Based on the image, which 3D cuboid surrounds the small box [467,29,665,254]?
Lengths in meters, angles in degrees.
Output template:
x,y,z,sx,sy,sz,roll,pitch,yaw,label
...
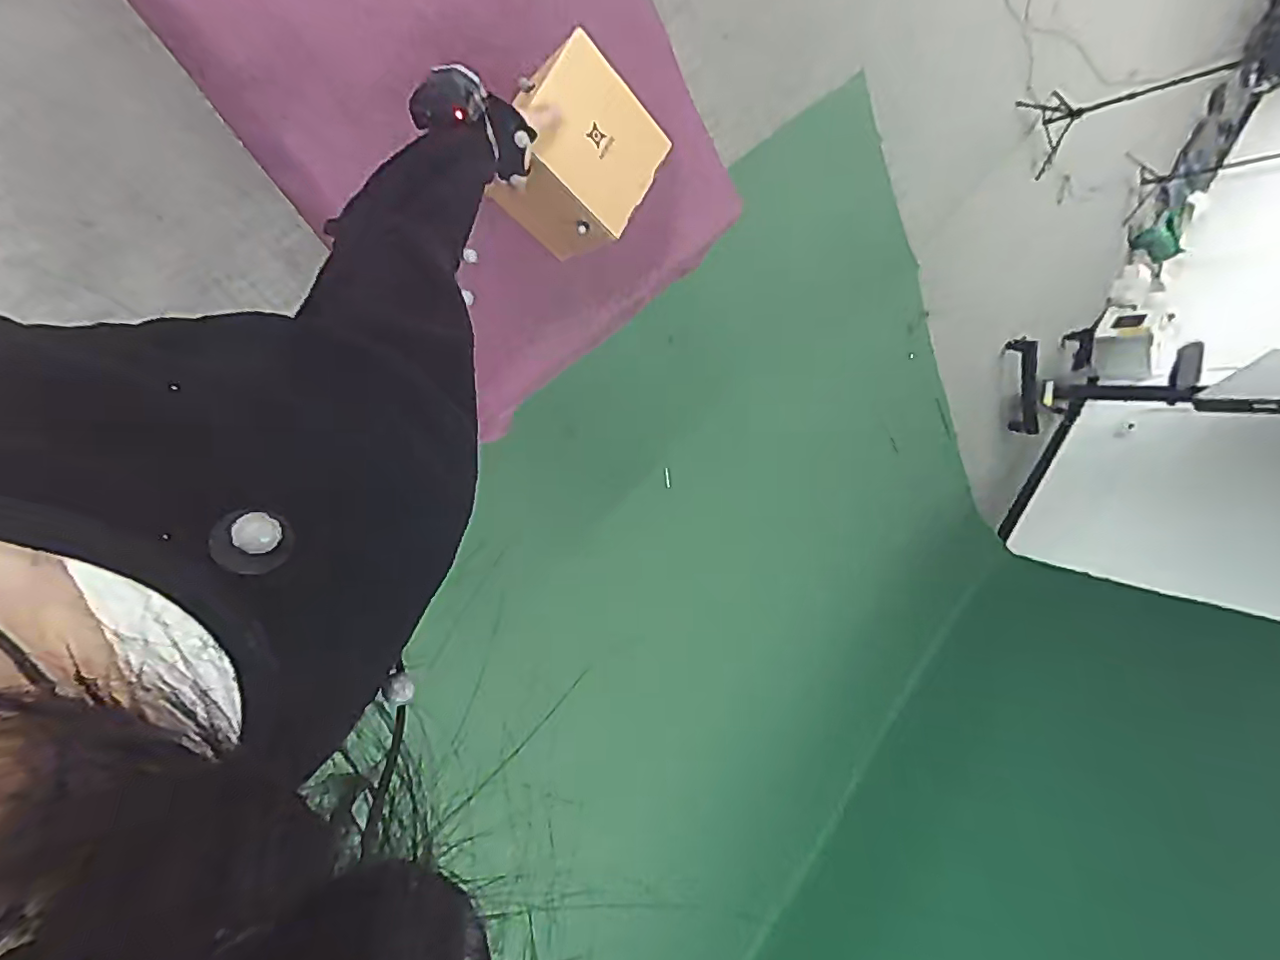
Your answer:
x,y,z,sx,sy,sz,roll,pitch,yaw,label
-0.105,-0.437,0.737,0.179,0.176,0.168,35,78,-37,small box
